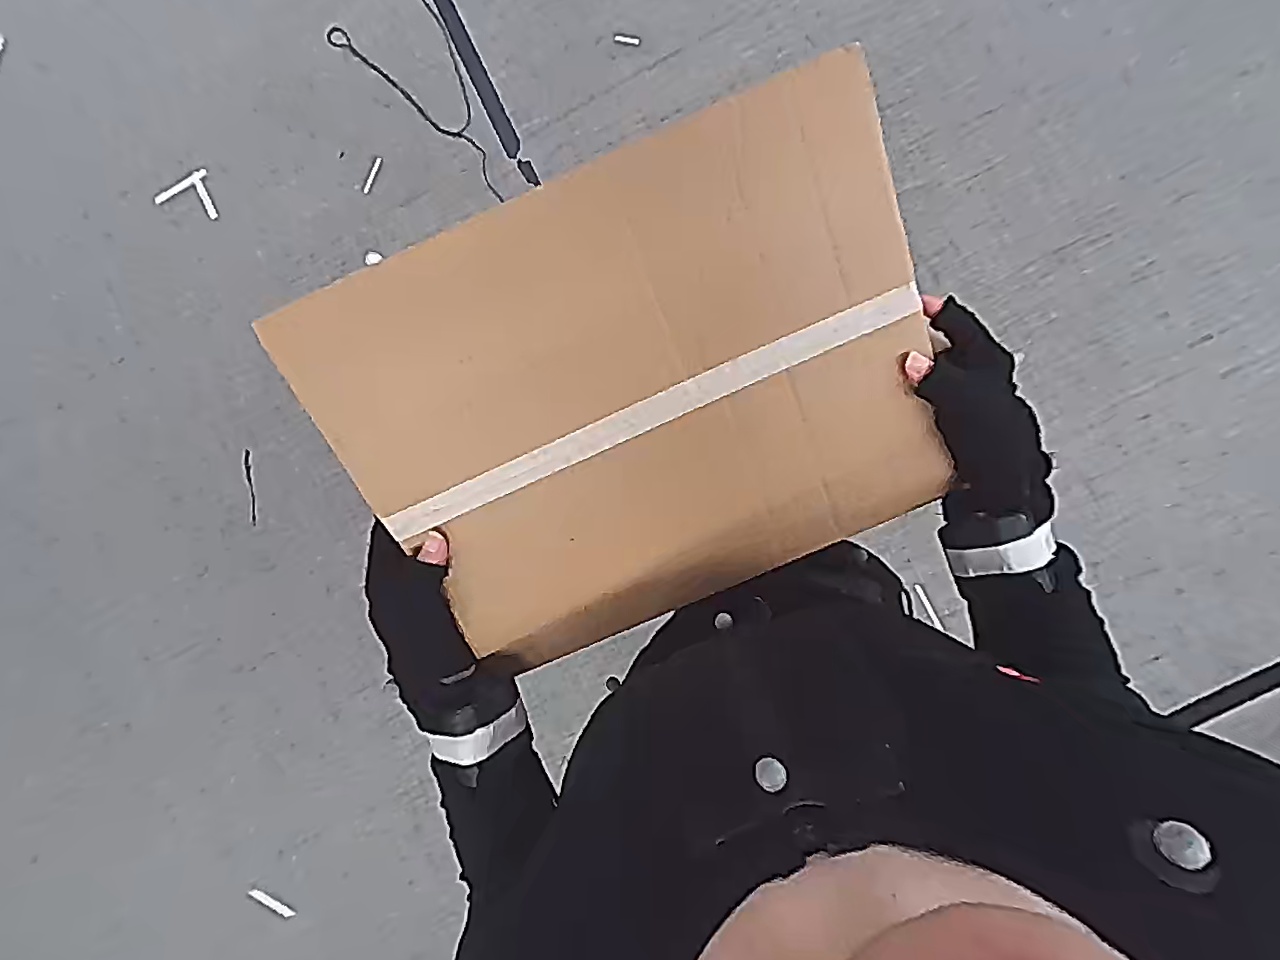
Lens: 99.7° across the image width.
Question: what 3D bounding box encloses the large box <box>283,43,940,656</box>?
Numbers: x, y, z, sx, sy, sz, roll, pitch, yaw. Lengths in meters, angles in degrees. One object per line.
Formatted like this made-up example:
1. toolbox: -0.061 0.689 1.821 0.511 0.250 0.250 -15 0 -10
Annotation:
1. large box: -0.012 -0.108 0.531 0.408 0.320 0.320 -23 111 3
